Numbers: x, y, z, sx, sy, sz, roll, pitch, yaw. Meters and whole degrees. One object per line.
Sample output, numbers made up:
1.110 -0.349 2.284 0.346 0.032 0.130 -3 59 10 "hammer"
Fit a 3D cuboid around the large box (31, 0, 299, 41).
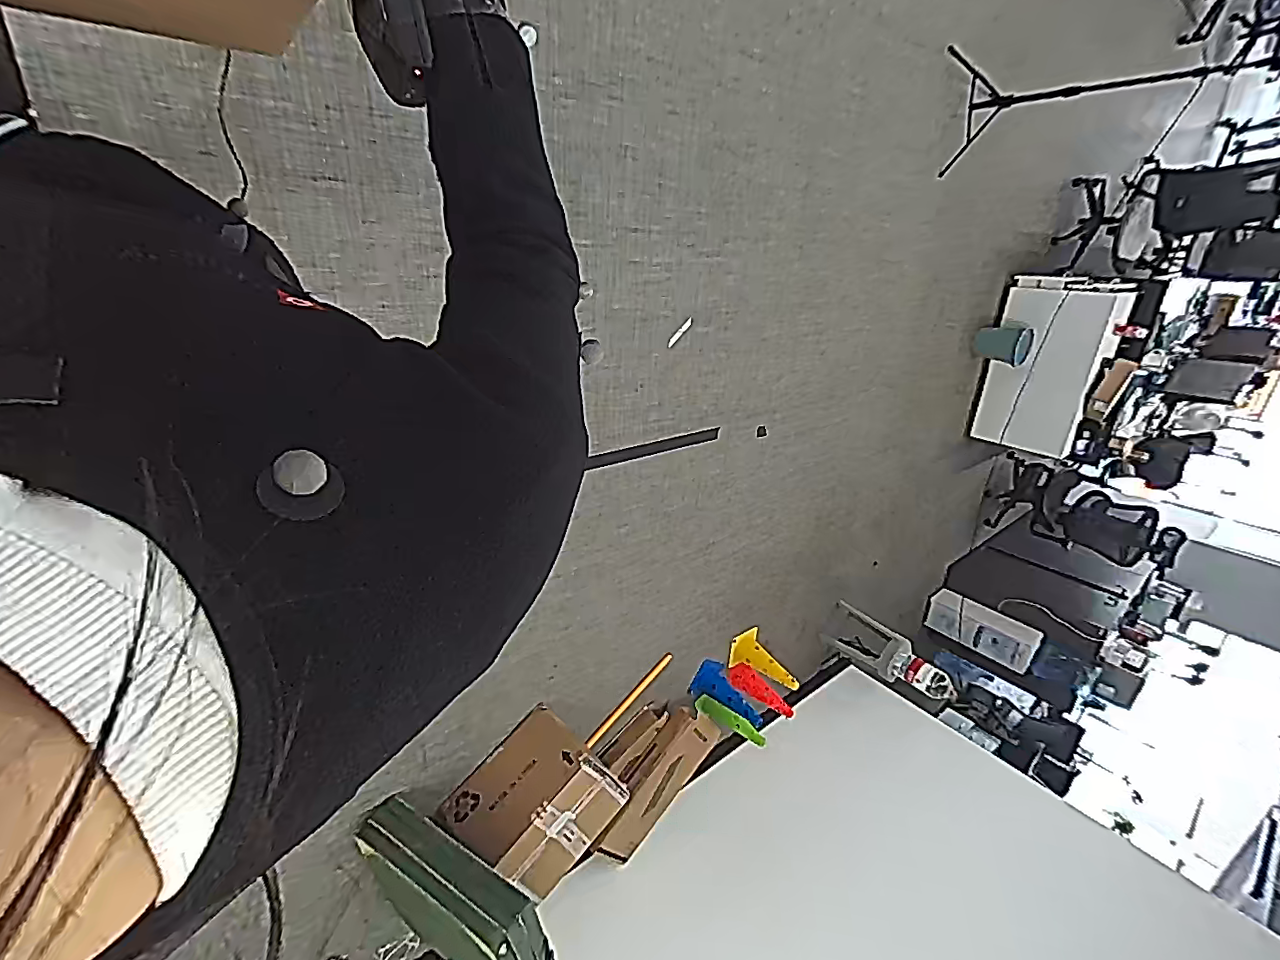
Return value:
-0.407 -0.450 0.234 0.408 0.320 0.320 -17 122 -35 "large box"
